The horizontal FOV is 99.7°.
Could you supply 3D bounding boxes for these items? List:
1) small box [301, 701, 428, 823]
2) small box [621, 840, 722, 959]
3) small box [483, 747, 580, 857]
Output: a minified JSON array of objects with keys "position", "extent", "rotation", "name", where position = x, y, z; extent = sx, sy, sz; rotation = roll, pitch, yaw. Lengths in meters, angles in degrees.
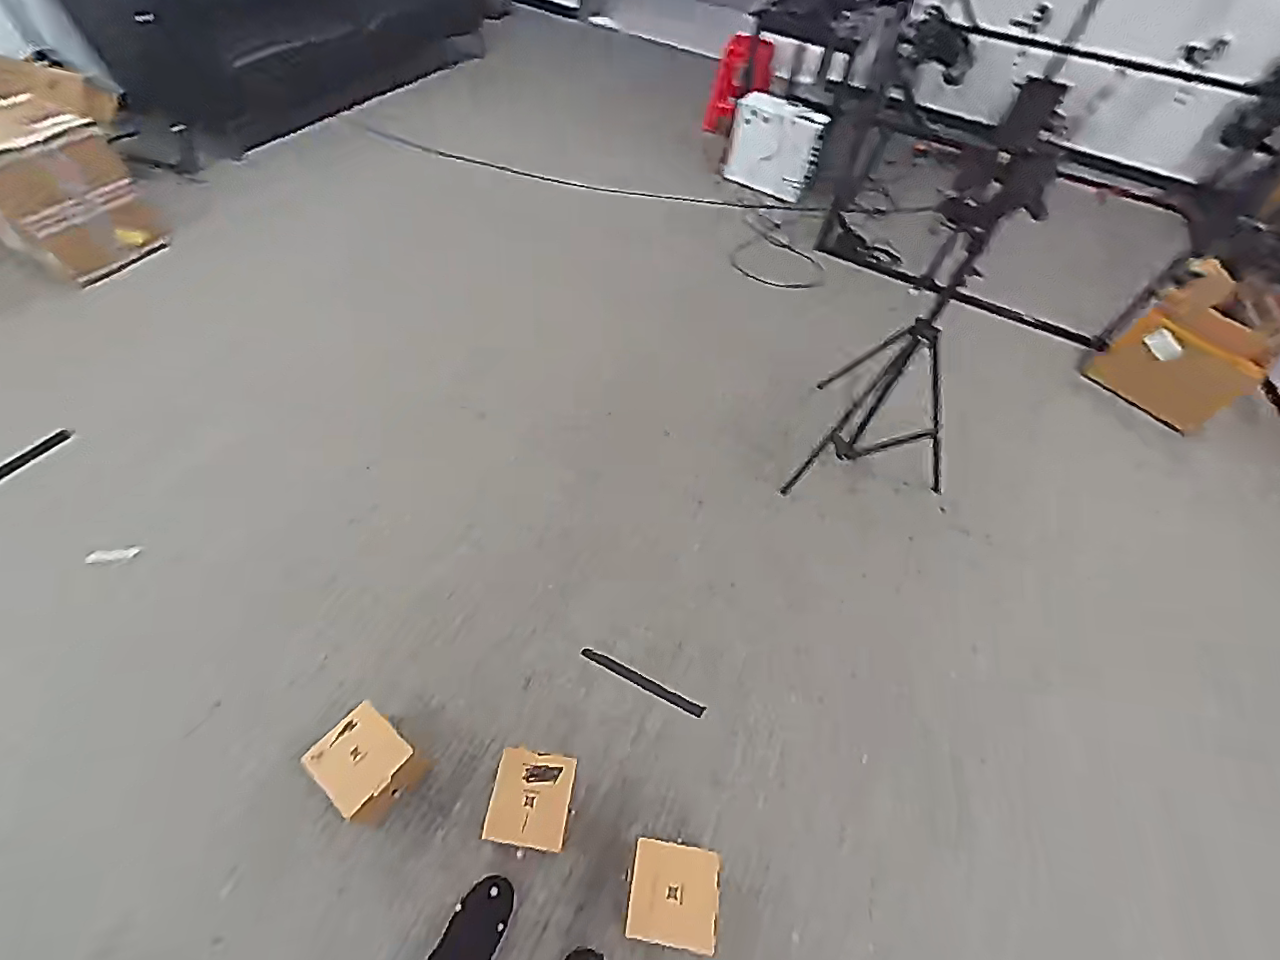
[{"position":[-0.606,0.637,1.216],"extent":[0.179,0.176,0.168],"rotation":[37,58,19],"name":"small box"},{"position":[0.063,0.867,1.125],"extent":[0.179,0.176,0.168],"rotation":[10,52,2],"name":"small box"},{"position":[-0.234,0.717,1.198],"extent":[0.168,0.176,0.179],"rotation":[10,54,1],"name":"small box"}]
